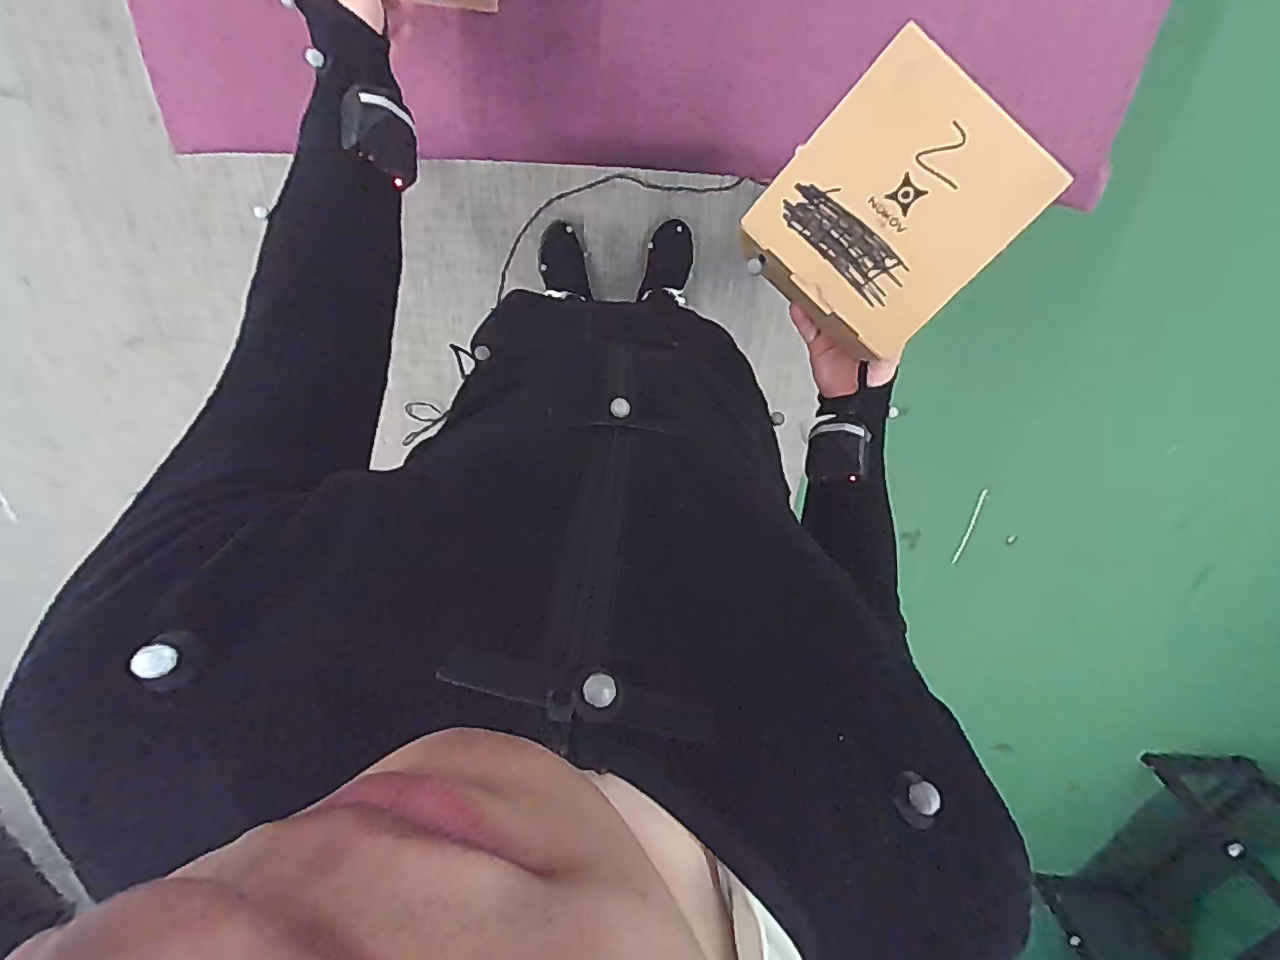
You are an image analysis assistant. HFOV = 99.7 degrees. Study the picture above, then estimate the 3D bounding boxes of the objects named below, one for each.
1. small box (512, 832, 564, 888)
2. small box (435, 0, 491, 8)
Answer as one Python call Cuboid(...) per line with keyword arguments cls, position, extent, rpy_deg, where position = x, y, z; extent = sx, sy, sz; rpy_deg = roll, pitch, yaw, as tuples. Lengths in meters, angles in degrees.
Cuboid(cls="small box", position=(-0.356, 1.373, 1.896), extent=(0.168, 0.176, 0.179), rpy_deg=(4, 116, -6))
Cuboid(cls="small box", position=(-0.236, -0.583, 0.508), extent=(0.168, 0.176, 0.179), rpy_deg=(3, 117, -6))
